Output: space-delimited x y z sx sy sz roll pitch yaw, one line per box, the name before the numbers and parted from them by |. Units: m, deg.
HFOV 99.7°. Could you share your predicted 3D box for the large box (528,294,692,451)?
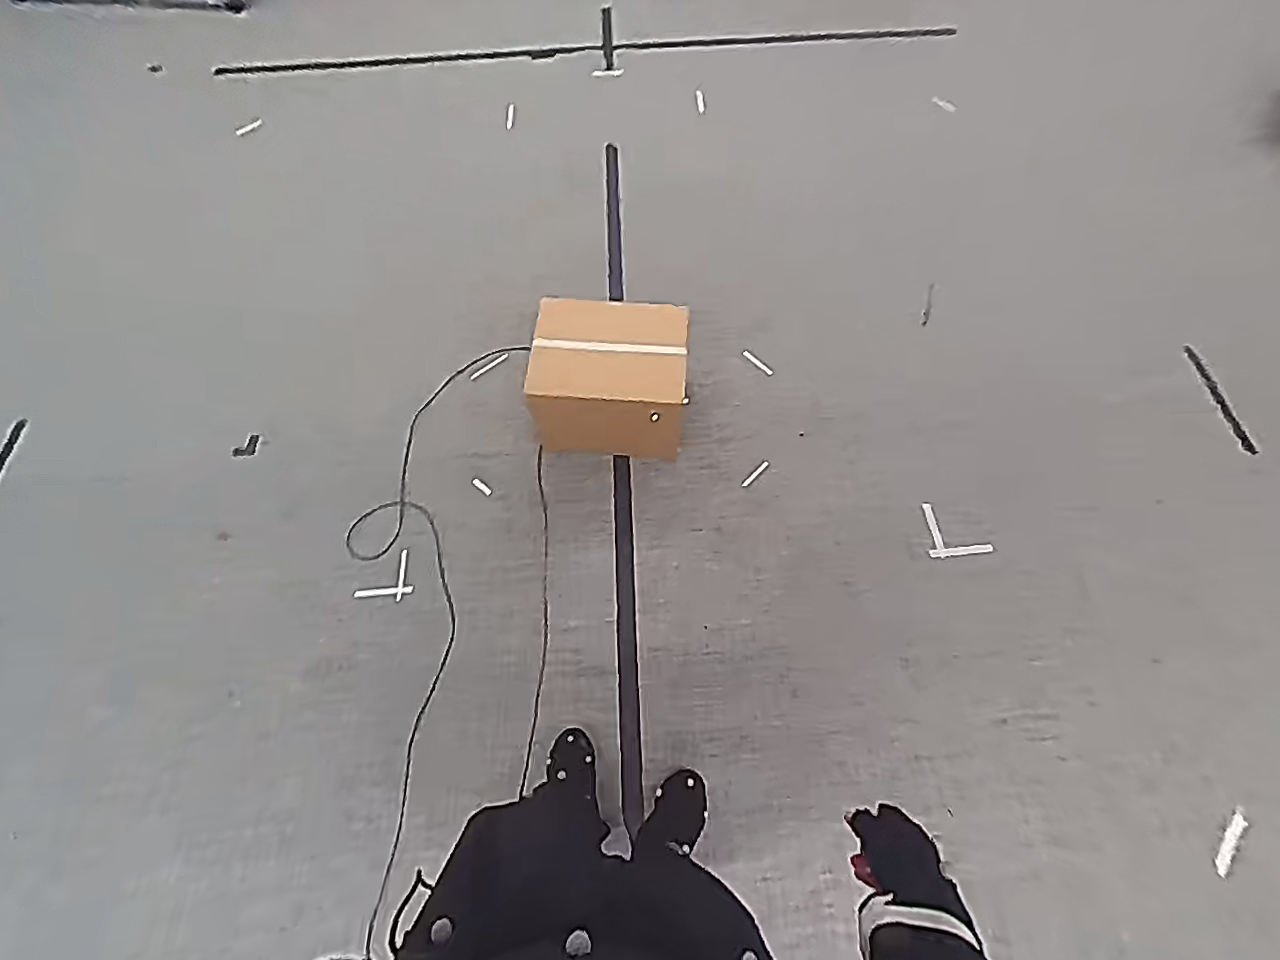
large box | -0.069 -0.291 1.530 0.408 0.320 0.320 5 66 1
